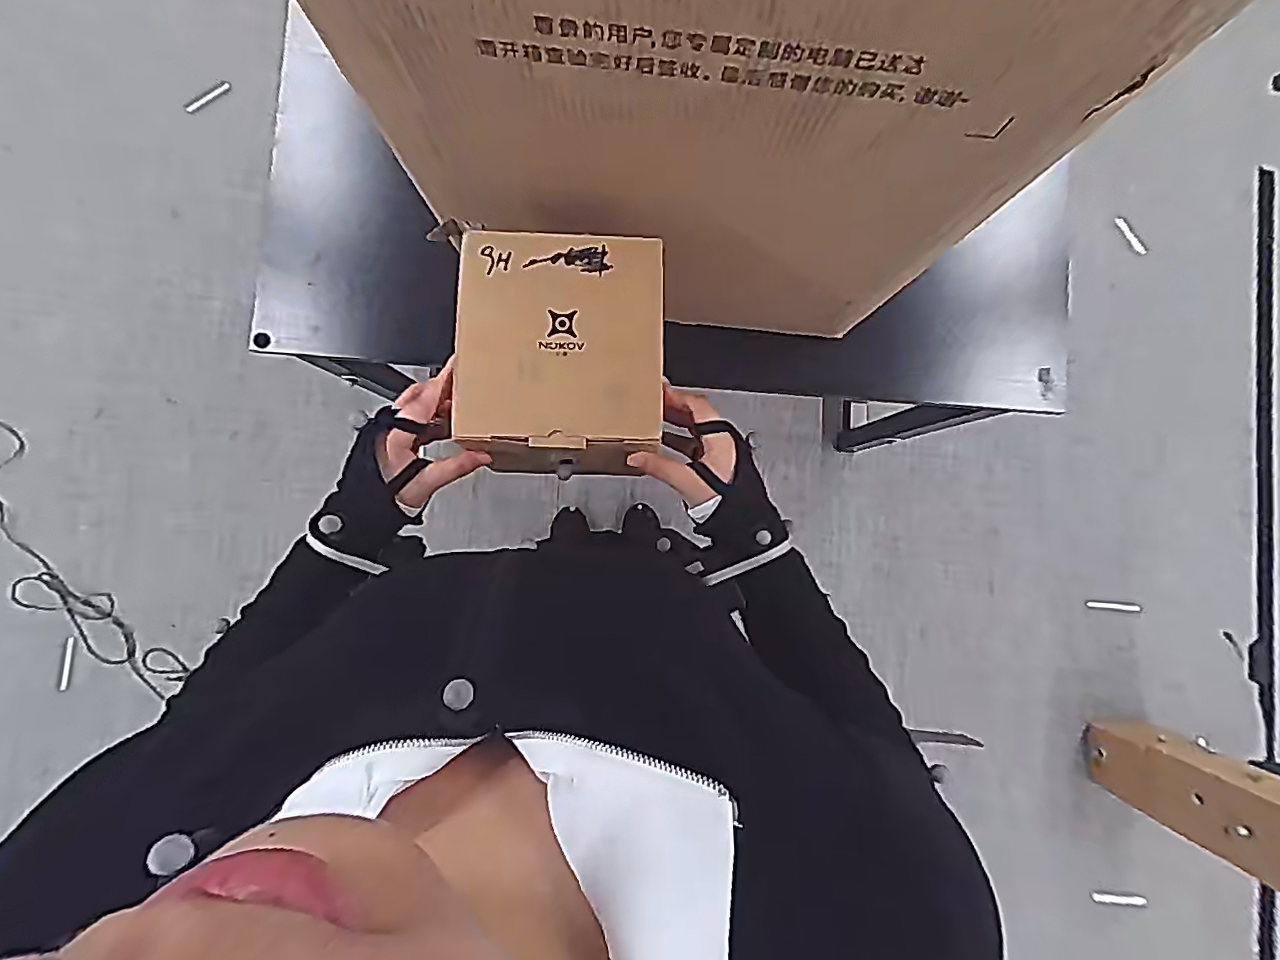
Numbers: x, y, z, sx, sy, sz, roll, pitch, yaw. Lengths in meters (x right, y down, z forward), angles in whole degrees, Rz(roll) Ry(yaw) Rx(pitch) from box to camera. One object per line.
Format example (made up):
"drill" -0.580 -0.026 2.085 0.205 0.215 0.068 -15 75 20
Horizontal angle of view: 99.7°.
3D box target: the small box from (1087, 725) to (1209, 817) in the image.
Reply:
"small box" 1.340 0.763 1.431 0.179 0.176 0.168 0 86 0

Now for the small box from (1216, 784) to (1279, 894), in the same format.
"small box" 1.352 0.747 1.102 0.179 0.176 0.168 7 86 -1

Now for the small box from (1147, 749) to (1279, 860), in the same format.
"small box" 1.345 0.753 1.267 0.168 0.176 0.179 4 87 -1
